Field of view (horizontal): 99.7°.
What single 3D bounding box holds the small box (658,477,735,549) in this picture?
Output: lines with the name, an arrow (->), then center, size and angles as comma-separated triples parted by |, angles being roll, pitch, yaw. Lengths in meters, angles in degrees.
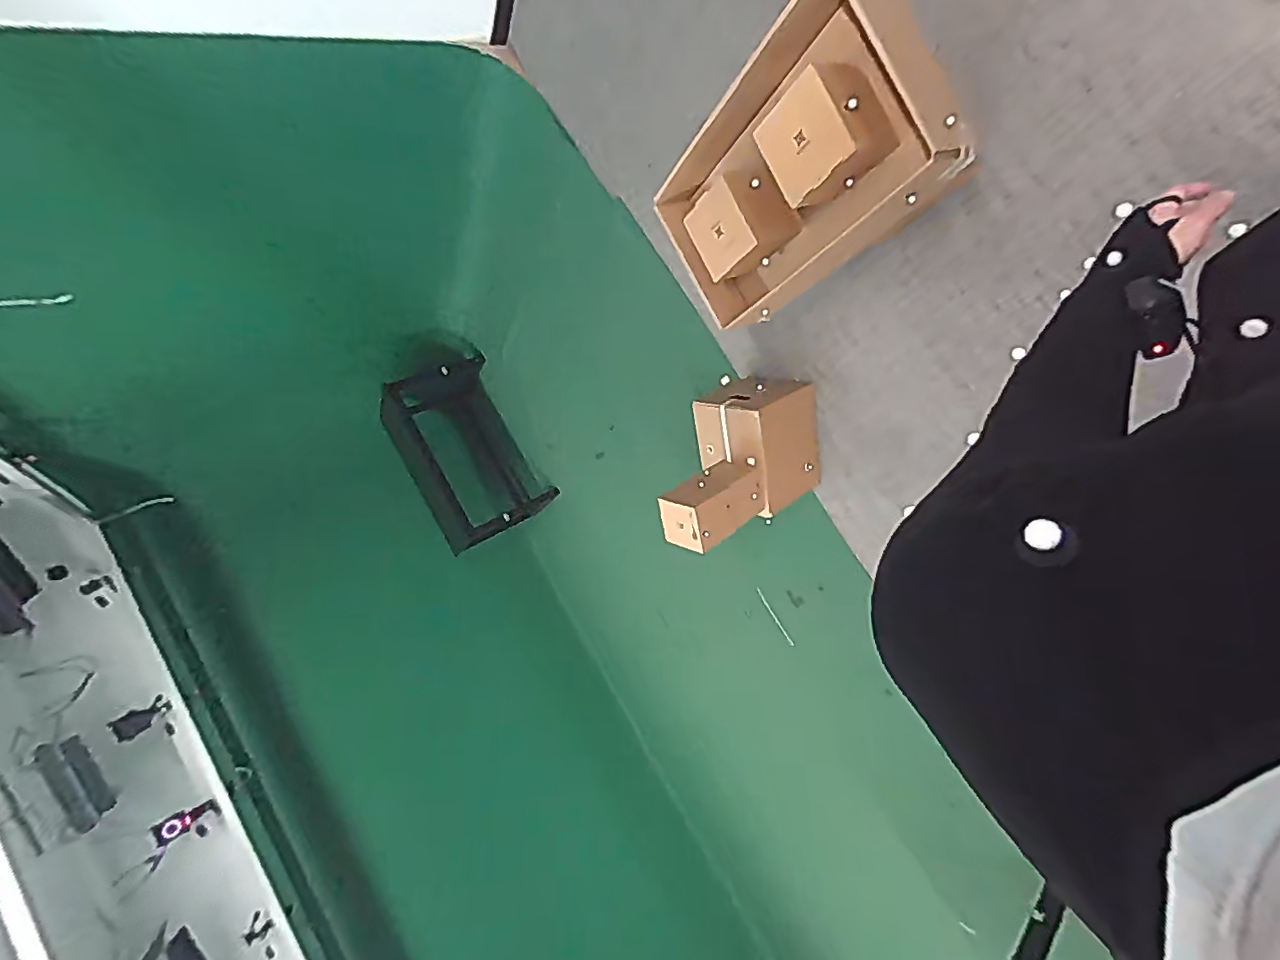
small box -> 0.189, 0.102, 1.791 | 0.179, 0.176, 0.168 | 15, 125, 48

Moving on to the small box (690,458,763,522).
small box -> 0.303, 0.034, 1.888 | 0.179, 0.176, 0.168 | 15, 126, 47

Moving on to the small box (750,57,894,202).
small box -> 0.360, -0.688, 1.068 | 0.179, 0.176, 0.168 | 60, 148, -1
